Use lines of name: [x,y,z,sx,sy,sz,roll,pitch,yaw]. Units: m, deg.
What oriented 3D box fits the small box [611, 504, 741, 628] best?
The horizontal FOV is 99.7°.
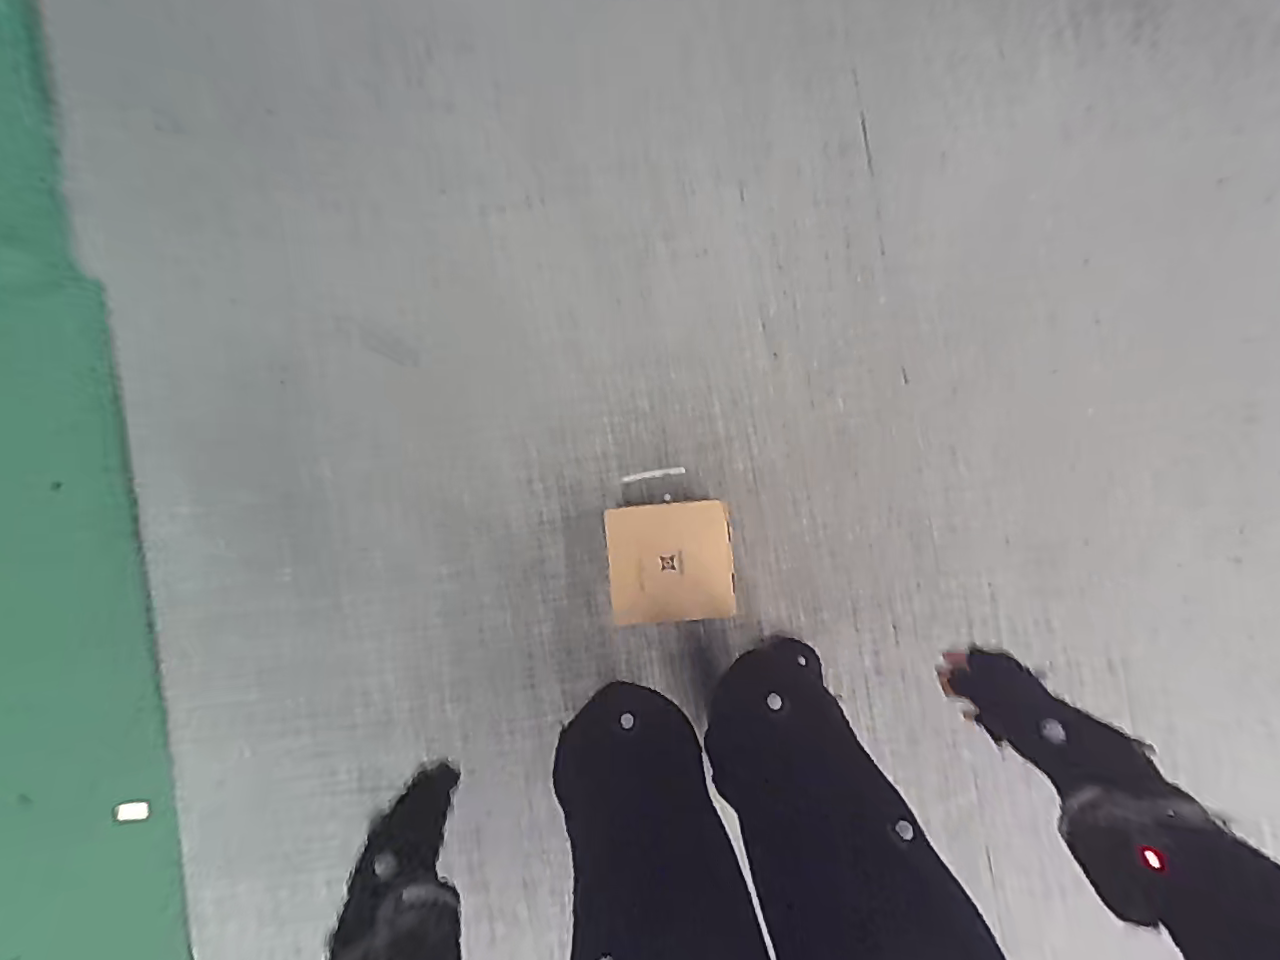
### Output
small box: [0.052,0.125,0.846,0.179,0.176,0.168,-5,87,2]
